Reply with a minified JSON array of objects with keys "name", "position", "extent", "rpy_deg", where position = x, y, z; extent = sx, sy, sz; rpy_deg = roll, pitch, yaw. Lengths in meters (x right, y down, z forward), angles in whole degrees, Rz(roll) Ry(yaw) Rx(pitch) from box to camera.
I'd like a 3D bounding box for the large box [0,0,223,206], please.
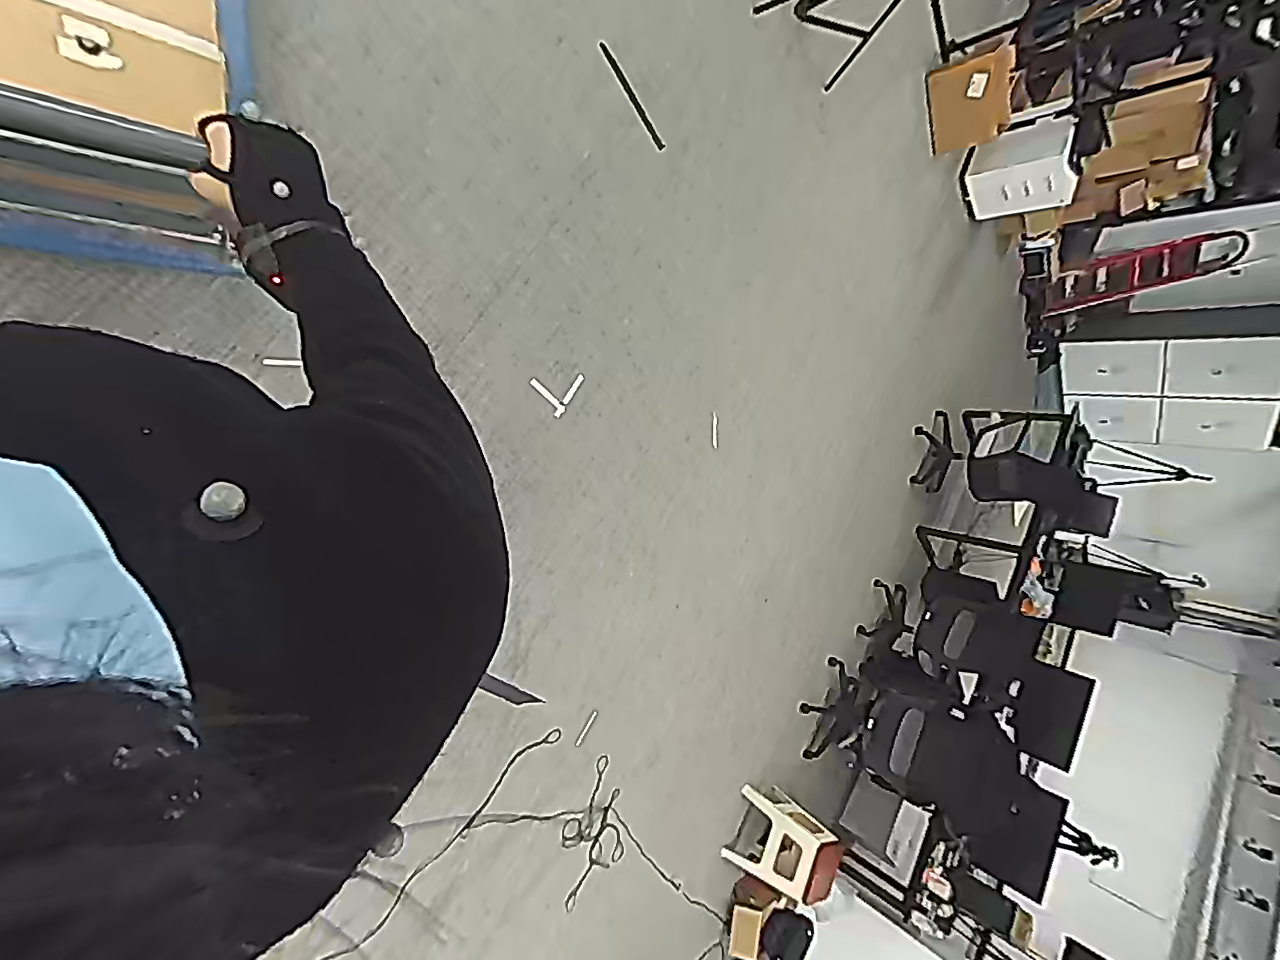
[{"name":"large box","position":[-0.851,-0.613,0.731],"extent":[0.408,0.320,0.320],"rpy_deg":[-6,103,-45]}]
